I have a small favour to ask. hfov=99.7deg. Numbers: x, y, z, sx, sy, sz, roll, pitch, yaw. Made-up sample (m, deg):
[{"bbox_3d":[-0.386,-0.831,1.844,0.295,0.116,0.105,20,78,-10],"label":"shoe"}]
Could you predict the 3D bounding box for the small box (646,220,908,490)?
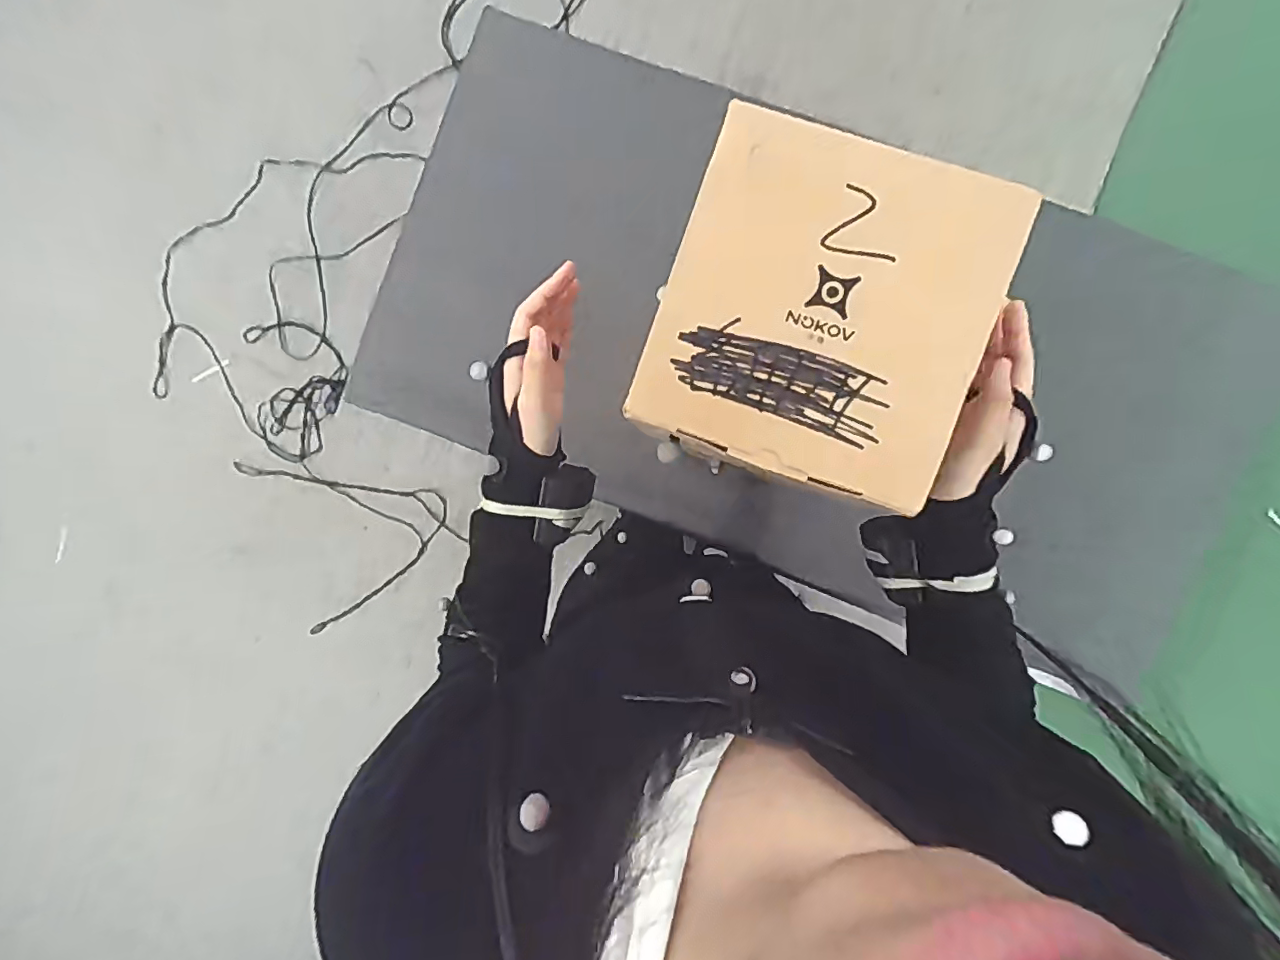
[{"bbox_3d":[0.114,-0.104,0.517,0.168,0.176,0.179,22,94,3],"label":"small box"}]
